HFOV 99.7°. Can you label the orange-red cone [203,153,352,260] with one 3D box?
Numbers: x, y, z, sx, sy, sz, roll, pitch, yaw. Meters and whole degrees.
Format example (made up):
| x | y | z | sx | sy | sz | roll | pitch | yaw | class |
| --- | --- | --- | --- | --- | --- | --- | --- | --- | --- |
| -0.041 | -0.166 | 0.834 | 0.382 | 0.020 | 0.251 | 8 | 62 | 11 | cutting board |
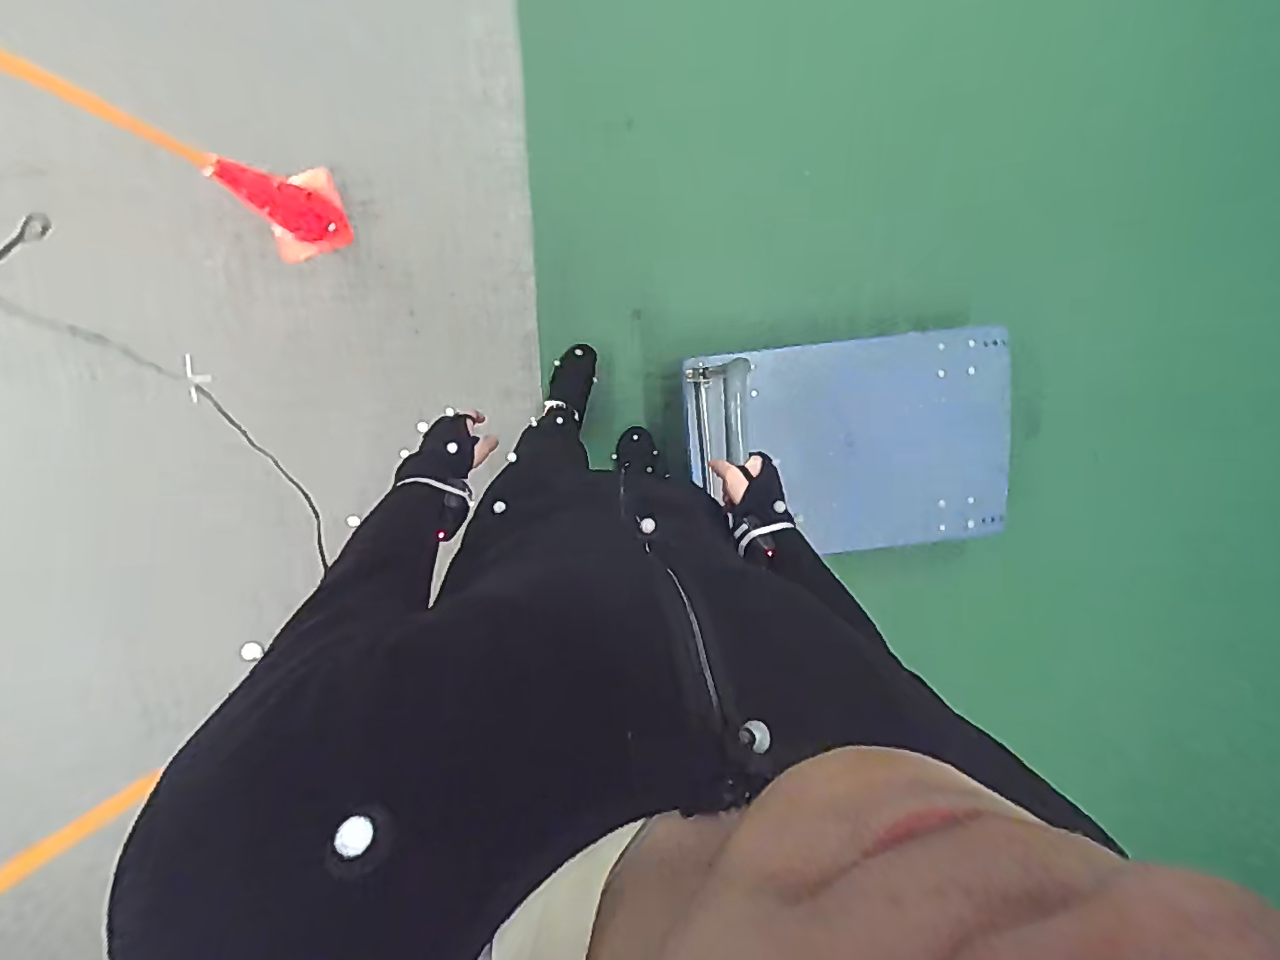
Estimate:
| x | y | z | sx | sy | sz | roll | pitch | yaw | class |
| --- | --- | --- | --- | --- | --- | --- | --- | --- | --- |
| -0.892 | -0.684 | 1.288 | 0.198 | 0.360 | 0.199 | -17 | 98 | 0 | orange-red cone |
